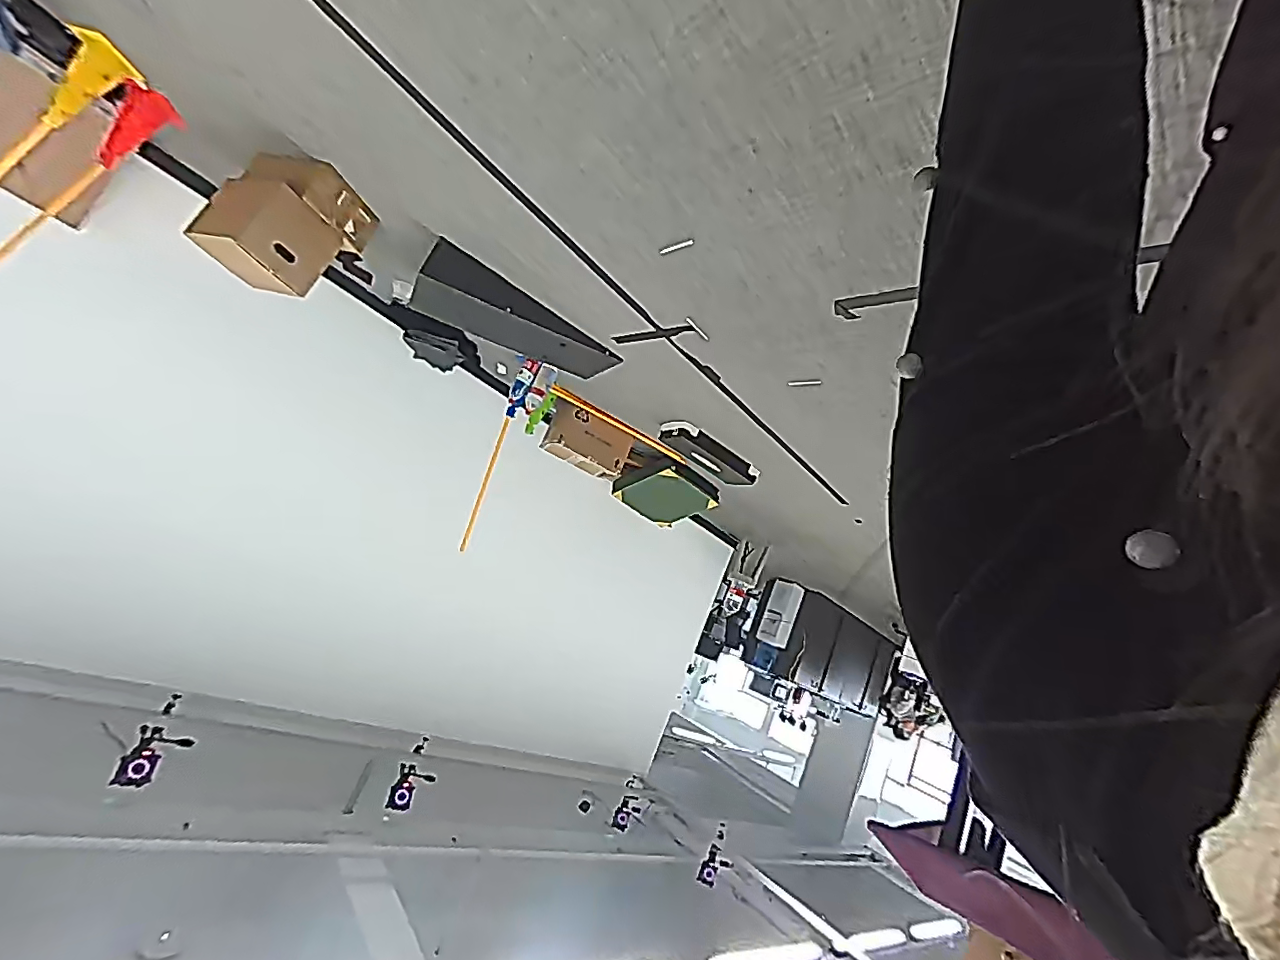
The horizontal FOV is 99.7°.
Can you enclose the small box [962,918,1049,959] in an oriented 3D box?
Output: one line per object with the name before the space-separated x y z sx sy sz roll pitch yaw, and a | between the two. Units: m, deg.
small box | 0.905 1.235 1.337 0.179 0.176 0.168 11 163 44
